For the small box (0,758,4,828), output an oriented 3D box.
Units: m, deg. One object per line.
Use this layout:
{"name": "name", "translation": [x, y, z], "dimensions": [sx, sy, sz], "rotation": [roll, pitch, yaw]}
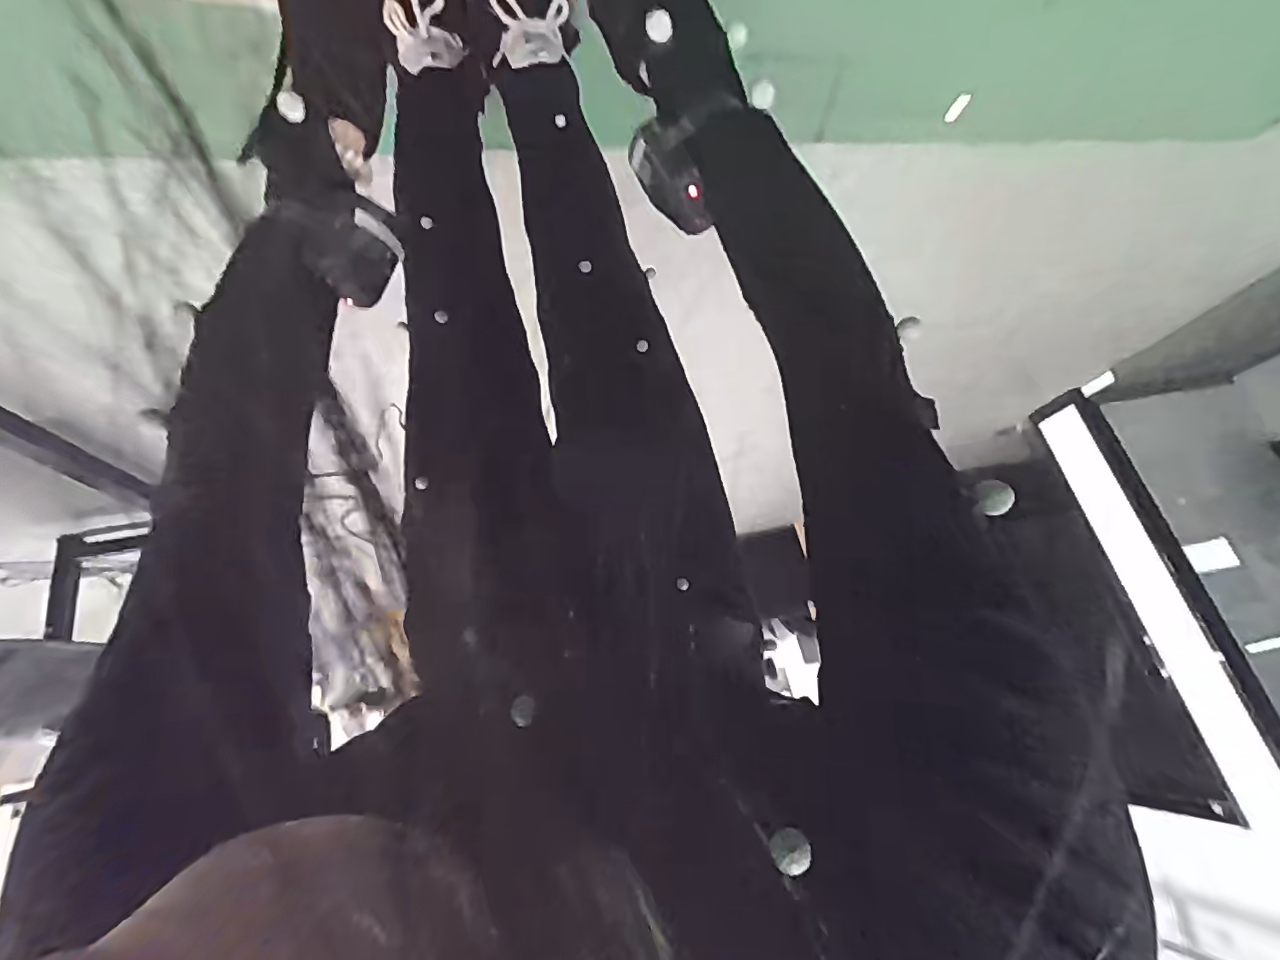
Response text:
{"name": "small box", "translation": [-1.412, 0.645, 1.051], "dimensions": [0.179, 0.176, 0.168], "rotation": [-8, 160, -11]}
